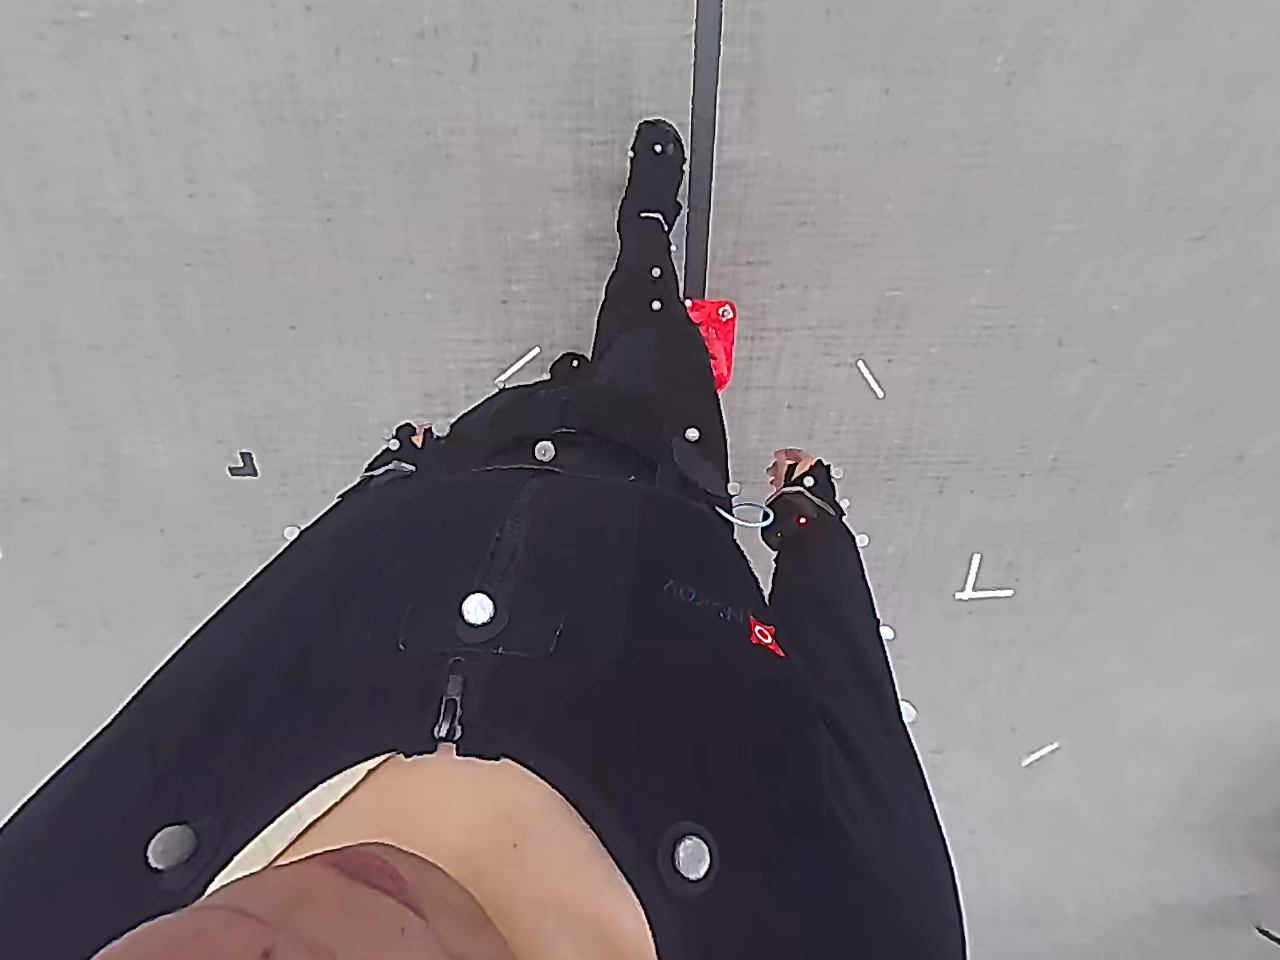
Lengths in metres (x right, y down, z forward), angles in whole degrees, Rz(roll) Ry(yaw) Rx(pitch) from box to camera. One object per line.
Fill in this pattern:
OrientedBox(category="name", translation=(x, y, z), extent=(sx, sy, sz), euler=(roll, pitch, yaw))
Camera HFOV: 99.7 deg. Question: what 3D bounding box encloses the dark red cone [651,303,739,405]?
OrientedBox(category="dark red cone", translation=(0.127, -0.233, 1.094), extent=(0.201, 0.394, 0.202), euler=(-1, 115, -1))
